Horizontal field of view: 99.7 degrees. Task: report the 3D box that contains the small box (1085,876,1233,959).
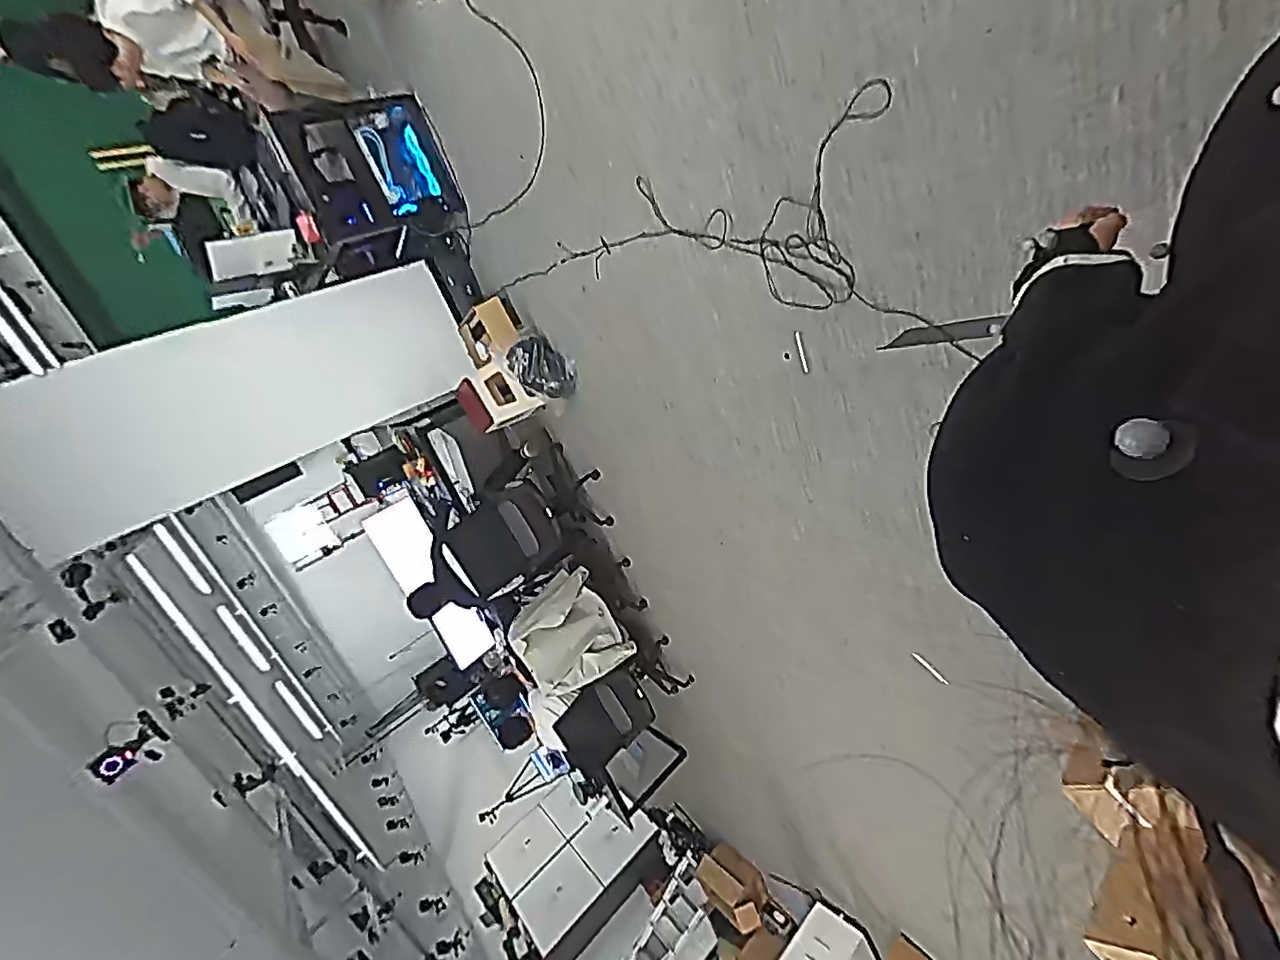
[{"bbox_3d":[1.173,1.038,1.220,0.168,0.176,0.179,48,149,15],"label":"small box"}]
